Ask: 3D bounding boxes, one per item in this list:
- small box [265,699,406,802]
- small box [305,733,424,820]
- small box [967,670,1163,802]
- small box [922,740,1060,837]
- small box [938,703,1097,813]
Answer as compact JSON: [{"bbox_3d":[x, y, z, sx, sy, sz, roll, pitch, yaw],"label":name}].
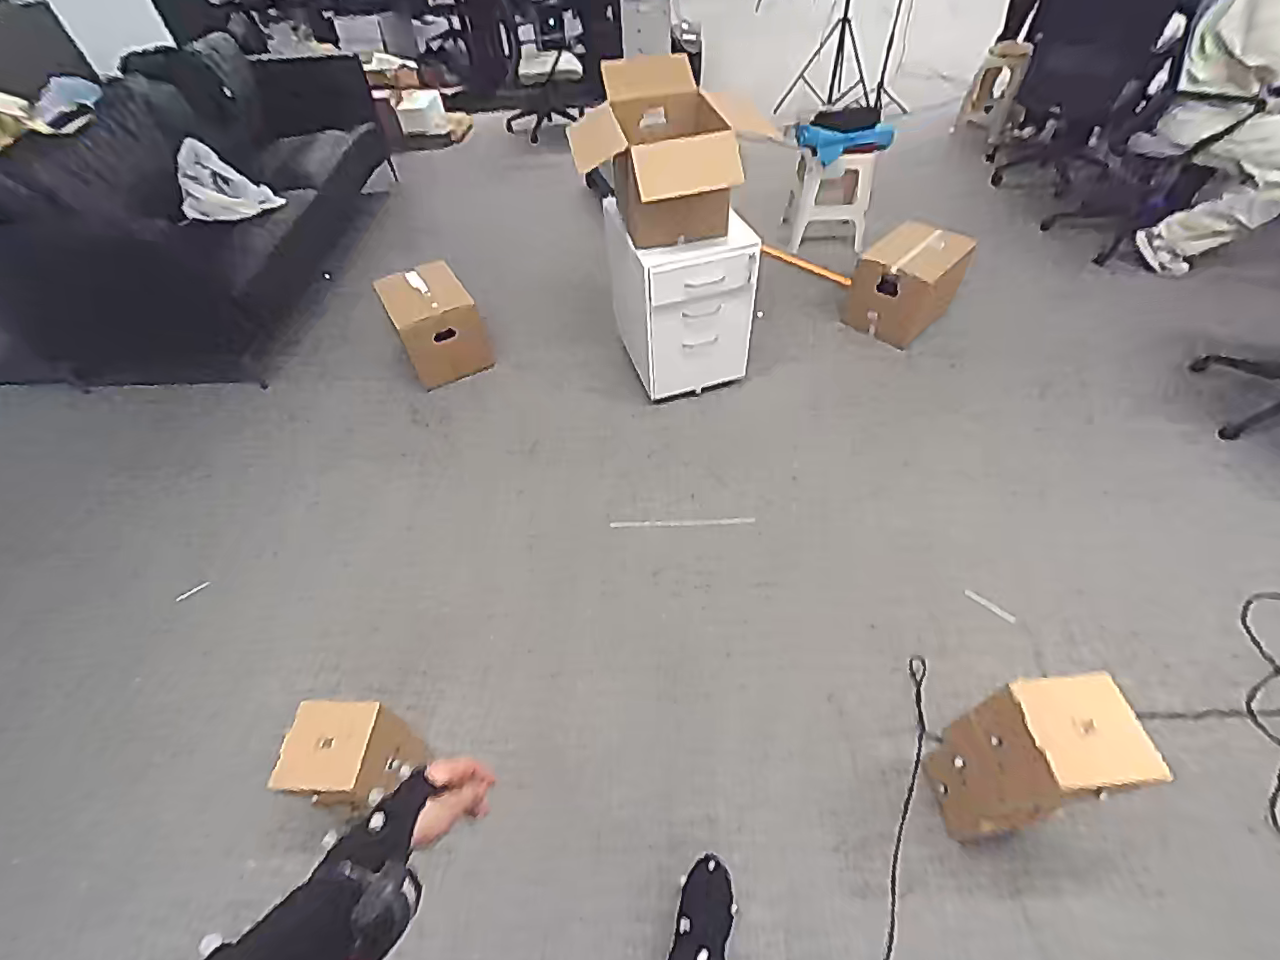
[{"bbox_3d":[-0.634,0.579,1.151,0.179,0.176,0.168,0,51,3],"label":"small box"},{"bbox_3d":[-0.634,0.688,1.272,0.168,0.176,0.179,-1,50,3],"label":"small box"},{"bbox_3d":[0.718,0.447,0.940,0.179,0.176,0.168,-6,50,0],"label":"small box"},{"bbox_3d":[0.746,0.665,1.181,0.179,0.176,0.168,-7,50,-2],"label":"small box"},{"bbox_3d":[0.732,0.547,1.068,0.179,0.176,0.168,-5,49,1],"label":"small box"}]
